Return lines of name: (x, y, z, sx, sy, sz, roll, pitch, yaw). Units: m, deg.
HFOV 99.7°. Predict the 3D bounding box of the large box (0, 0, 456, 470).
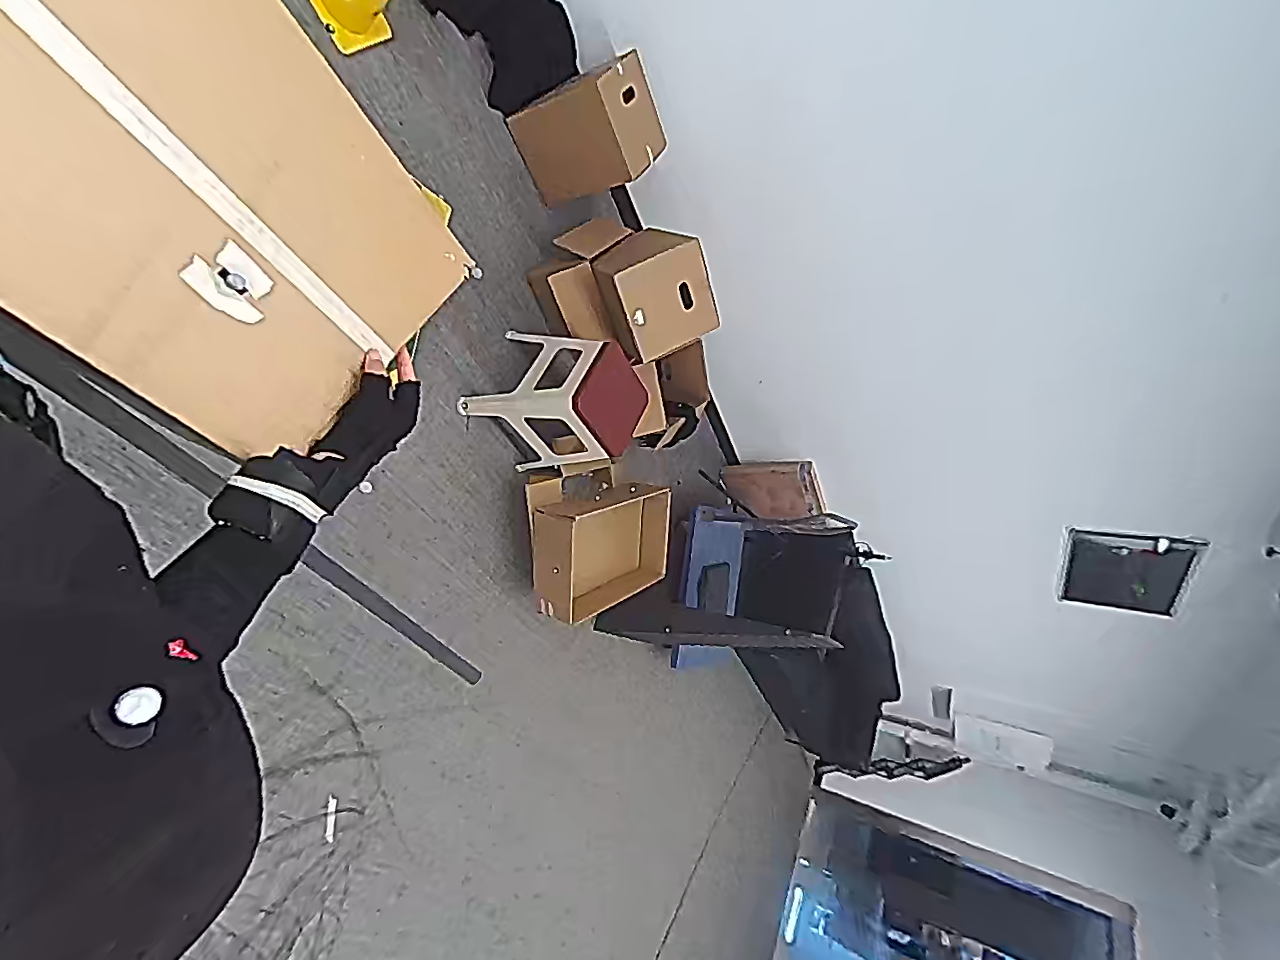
large box: (-0.477, -0.265, 0.508, 0.320, 0.320, 0.408, -60, 142, -22)
